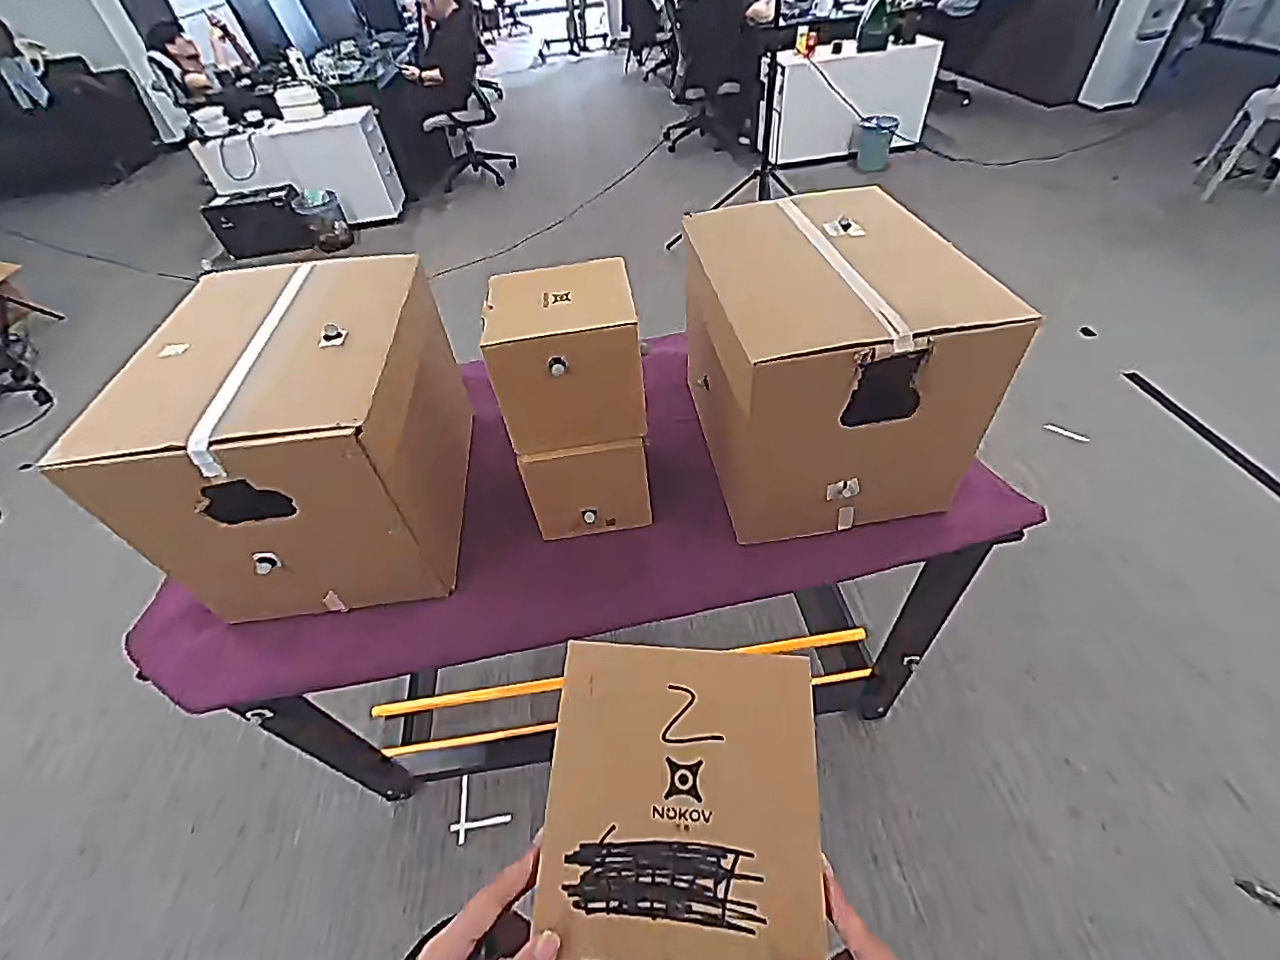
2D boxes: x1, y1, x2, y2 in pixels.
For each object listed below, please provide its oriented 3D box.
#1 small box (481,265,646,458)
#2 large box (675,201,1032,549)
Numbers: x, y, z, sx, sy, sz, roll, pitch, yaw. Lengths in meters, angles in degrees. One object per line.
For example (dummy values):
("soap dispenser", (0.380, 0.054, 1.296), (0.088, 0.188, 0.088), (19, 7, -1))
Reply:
("small box", (-0.088, -0.150, 0.697), (0.179, 0.176, 0.168), (-9, 46, 0))
("large box", (0.249, -0.164, 0.800), (0.320, 0.320, 0.408), (-9, 45, -2))
